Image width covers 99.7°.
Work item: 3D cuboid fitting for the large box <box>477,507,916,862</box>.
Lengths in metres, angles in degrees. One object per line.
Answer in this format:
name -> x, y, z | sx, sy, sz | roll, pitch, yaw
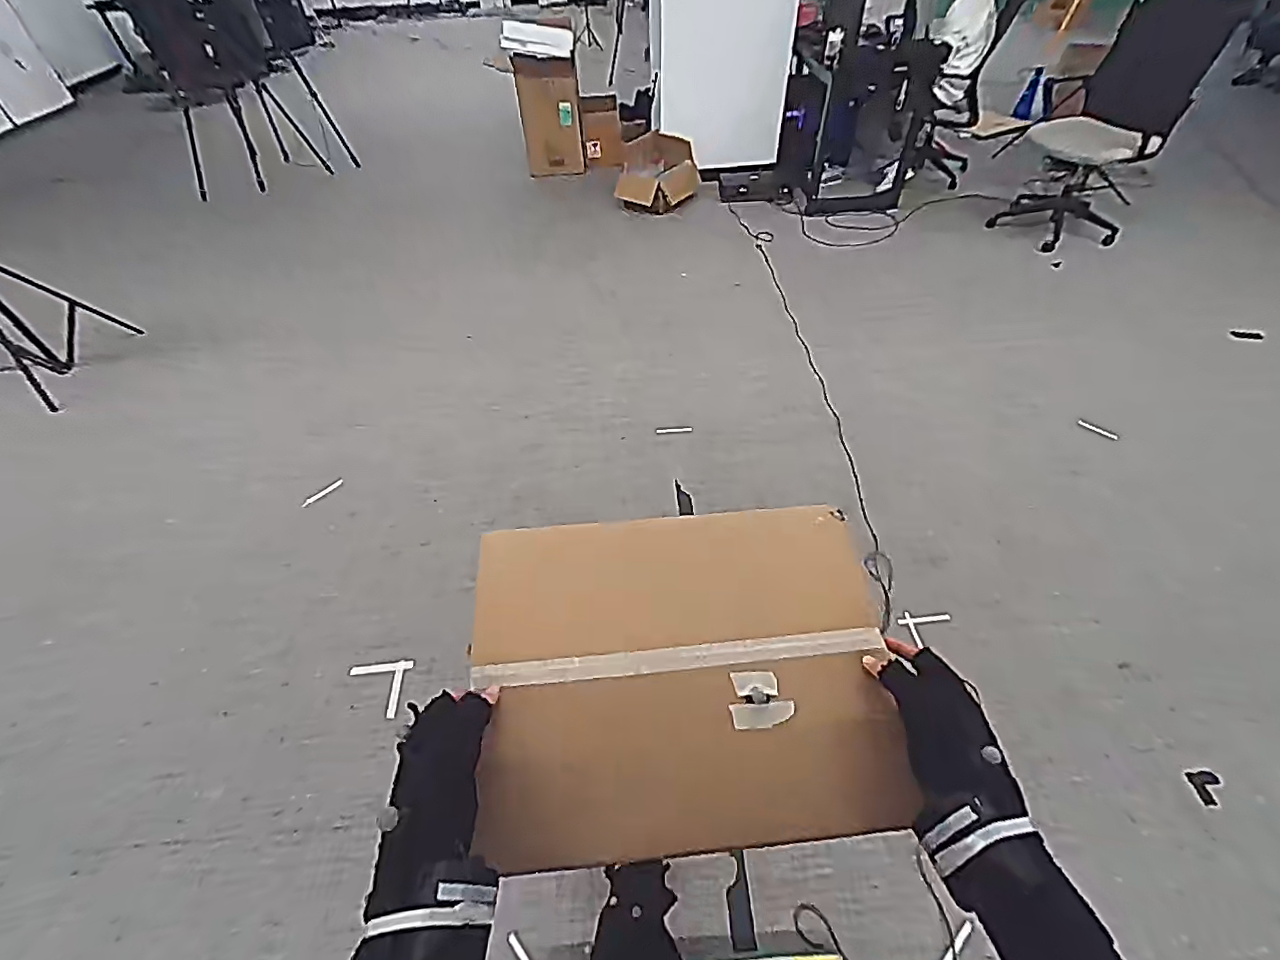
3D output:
large box -> 0.035, 0.258, 0.677 | 0.408, 0.320, 0.320 | -5, 58, -4
